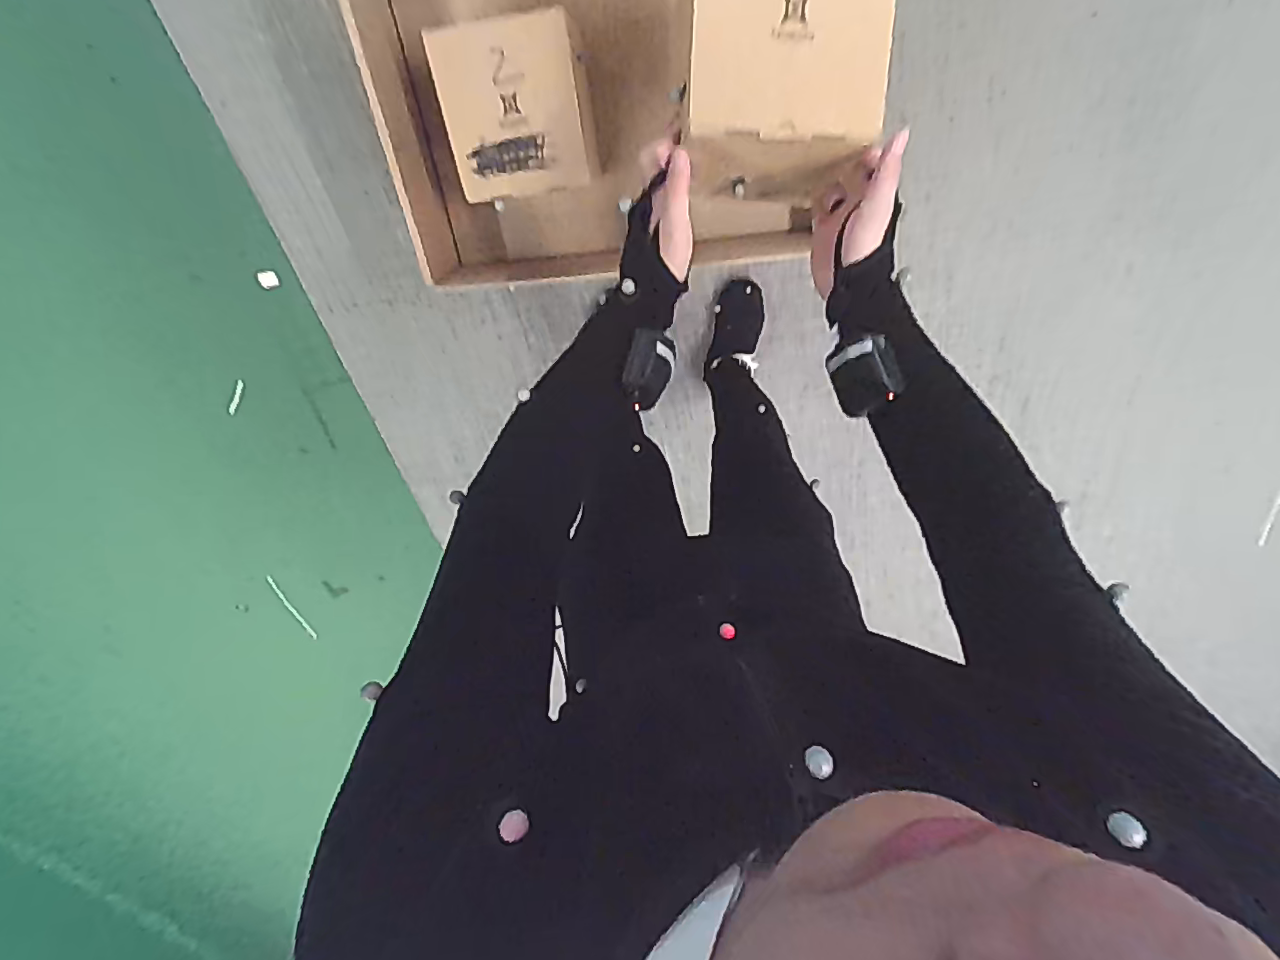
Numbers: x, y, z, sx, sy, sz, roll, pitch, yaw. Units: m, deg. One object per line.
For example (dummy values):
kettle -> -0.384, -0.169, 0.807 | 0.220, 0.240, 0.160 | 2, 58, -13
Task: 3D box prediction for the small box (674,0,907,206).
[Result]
small box -> 0.124, -0.378, 0.507 | 0.168, 0.176, 0.179 | 1, 103, -4
